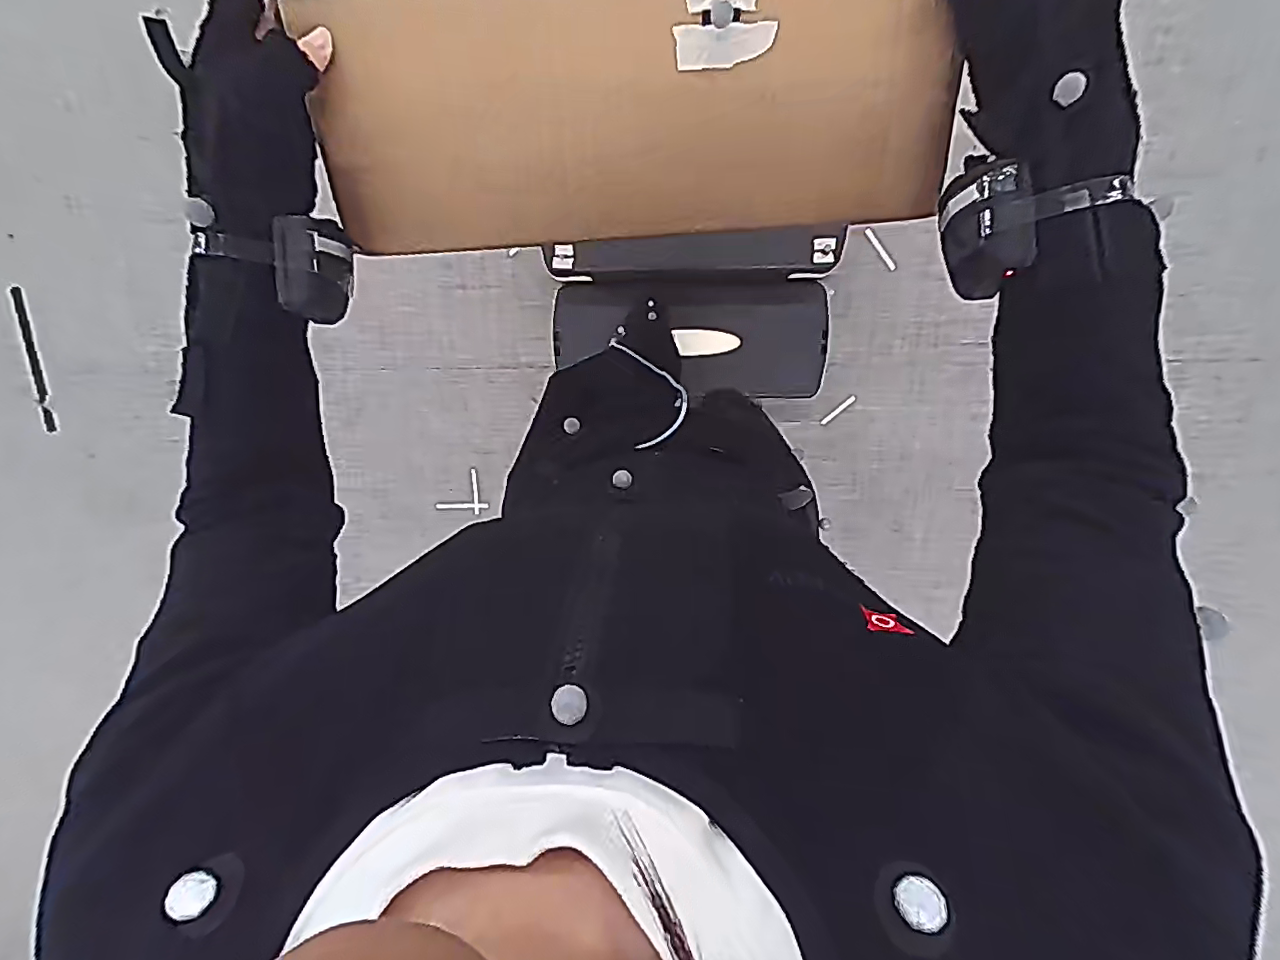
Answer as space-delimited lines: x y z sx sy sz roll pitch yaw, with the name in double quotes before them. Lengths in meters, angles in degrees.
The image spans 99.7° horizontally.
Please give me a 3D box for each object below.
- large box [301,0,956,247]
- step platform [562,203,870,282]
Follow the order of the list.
"large box" -0.005 -0.383 0.445 0.408 0.320 0.320 -1 117 7
"step platform" 0.158 -0.616 1.230 0.684 0.204 0.286 0 106 3
